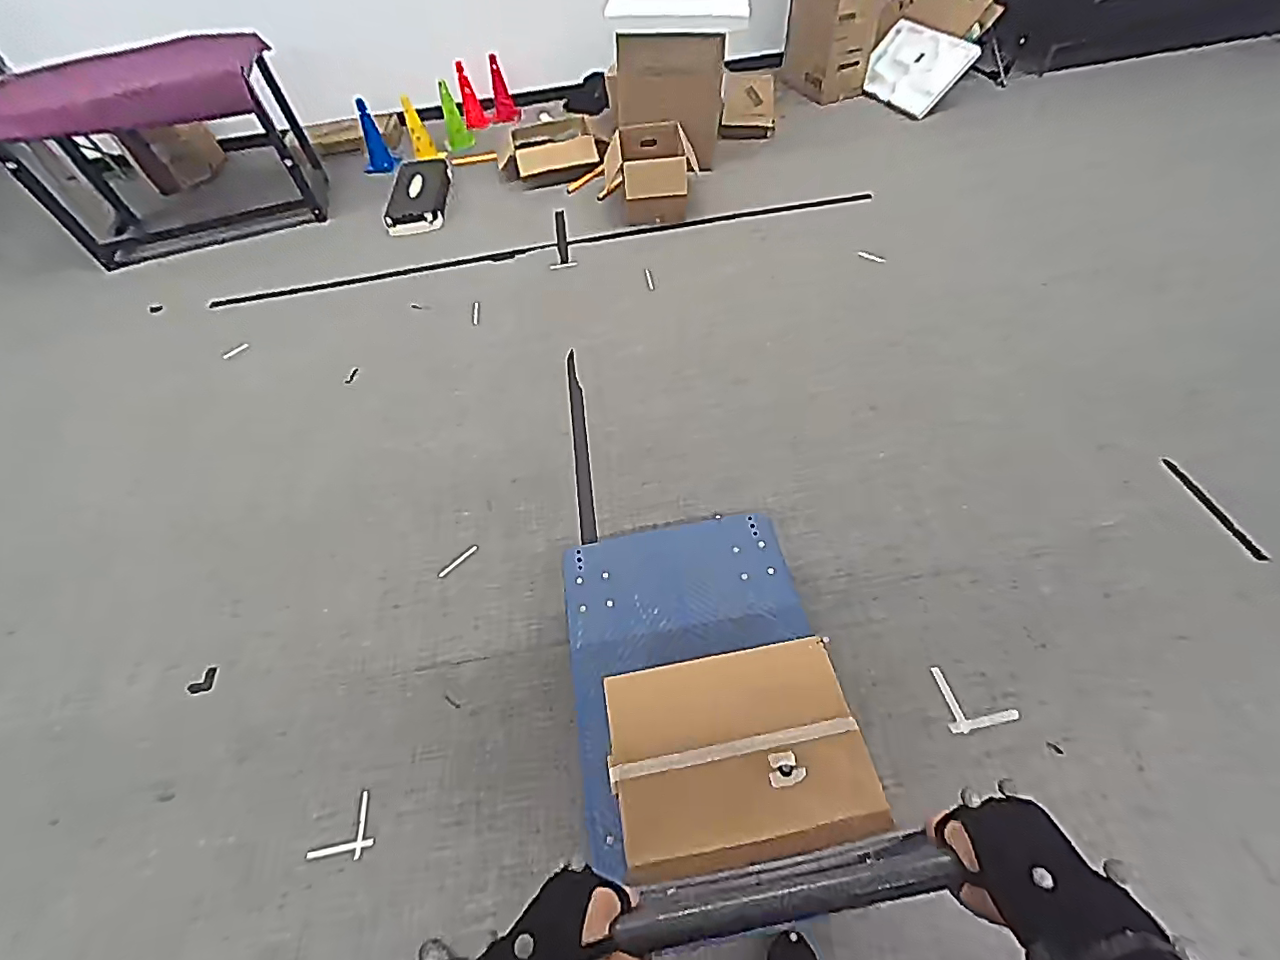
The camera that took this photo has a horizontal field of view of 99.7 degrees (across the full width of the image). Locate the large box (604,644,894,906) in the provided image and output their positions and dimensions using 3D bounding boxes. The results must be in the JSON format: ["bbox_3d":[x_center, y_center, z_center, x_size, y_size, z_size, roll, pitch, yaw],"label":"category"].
[{"bbox_3d":[0.165,0.543,0.991,0.408,0.320,0.320,-10,52,-3],"label":"large box"}]
